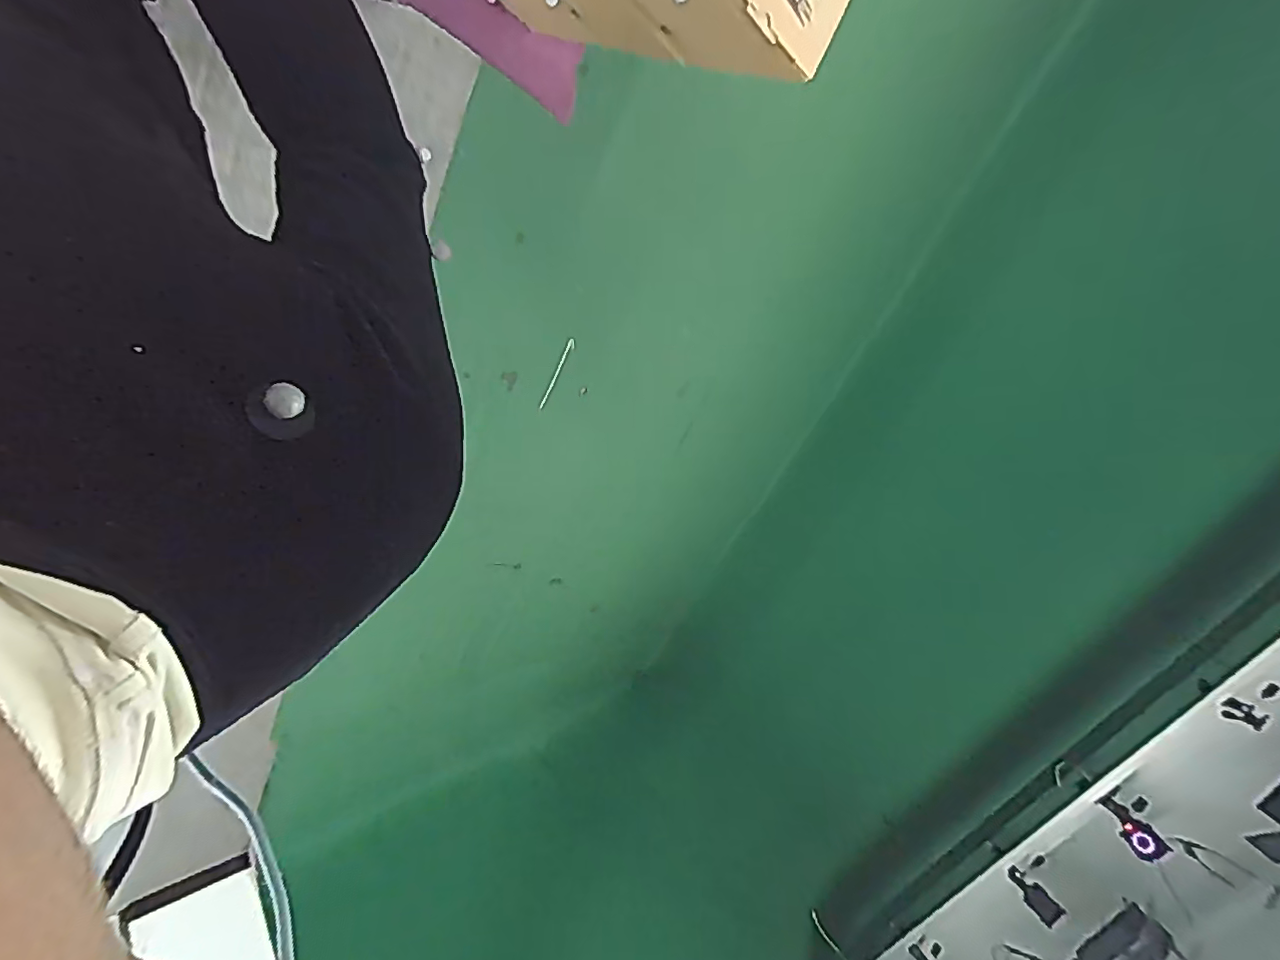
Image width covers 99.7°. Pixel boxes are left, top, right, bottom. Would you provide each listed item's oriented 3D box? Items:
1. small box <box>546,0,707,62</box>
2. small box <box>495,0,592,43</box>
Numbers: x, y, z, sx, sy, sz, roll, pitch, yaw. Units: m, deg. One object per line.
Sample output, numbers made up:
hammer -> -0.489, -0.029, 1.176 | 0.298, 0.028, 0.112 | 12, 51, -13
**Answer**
small box -> -0.020, -0.575, 0.542 | 0.168, 0.176, 0.179 | 6, 120, -50
small box -> -0.125, -0.665, 0.628 | 0.179, 0.176, 0.168 | 5, 120, -52
